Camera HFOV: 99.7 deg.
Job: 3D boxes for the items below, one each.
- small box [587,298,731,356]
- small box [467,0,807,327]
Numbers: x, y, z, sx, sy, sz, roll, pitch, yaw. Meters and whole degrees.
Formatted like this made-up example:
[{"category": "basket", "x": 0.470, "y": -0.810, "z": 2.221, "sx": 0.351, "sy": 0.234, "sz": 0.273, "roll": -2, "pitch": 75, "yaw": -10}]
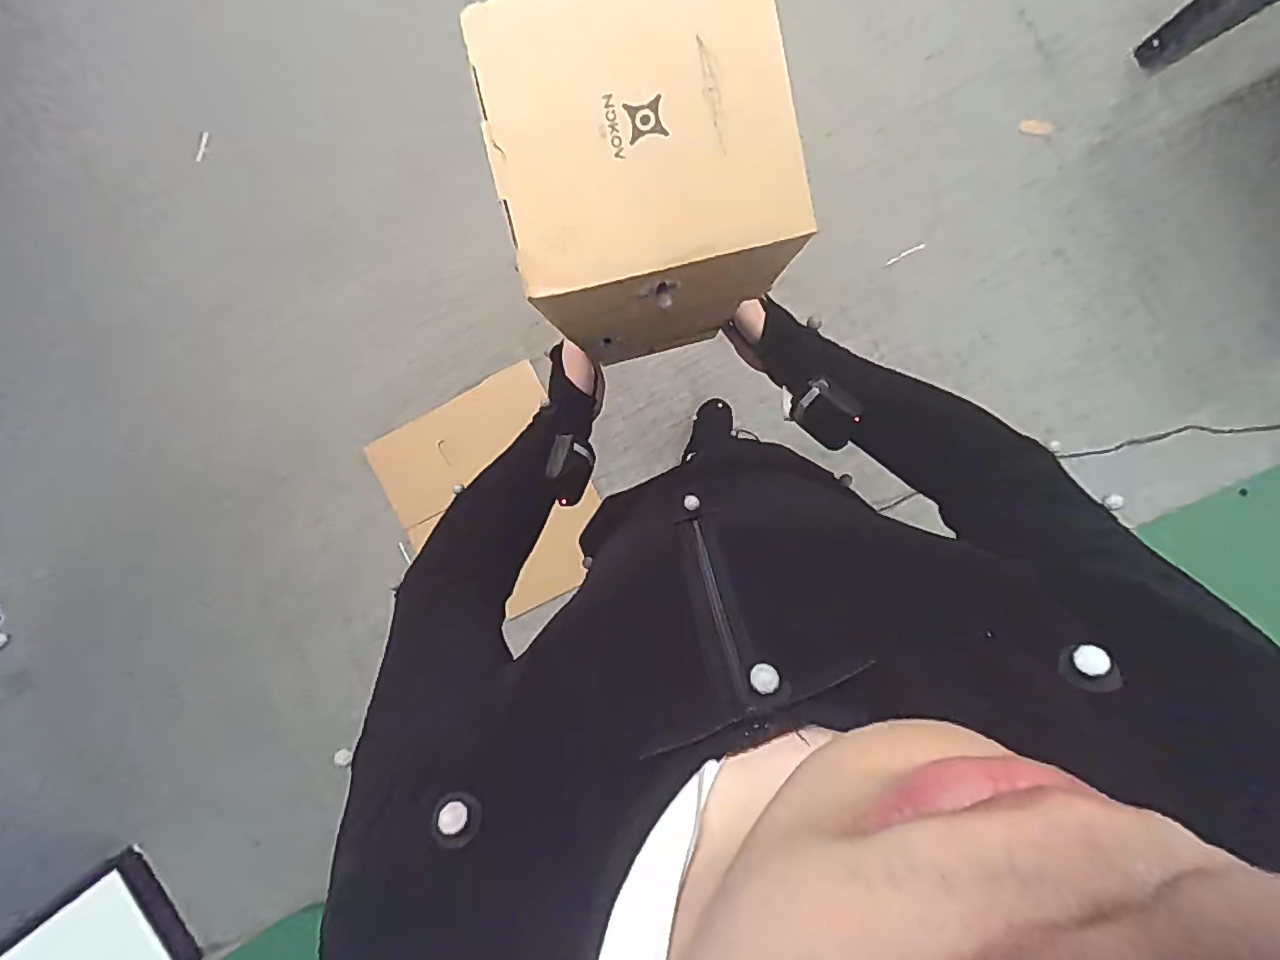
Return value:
[{"category": "small box", "x": 0.011, "y": -0.270, "z": 0.715, "sx": 0.179, "sy": 0.176, "sz": 0.168, "roll": -13, "pitch": 95, "yaw": 4}, {"category": "small box", "x": 0.003, "y": -0.219, "z": 0.392, "sx": 0.179, "sy": 0.176, "sz": 0.168, "roll": -11, "pitch": 96, "yaw": 4}]
